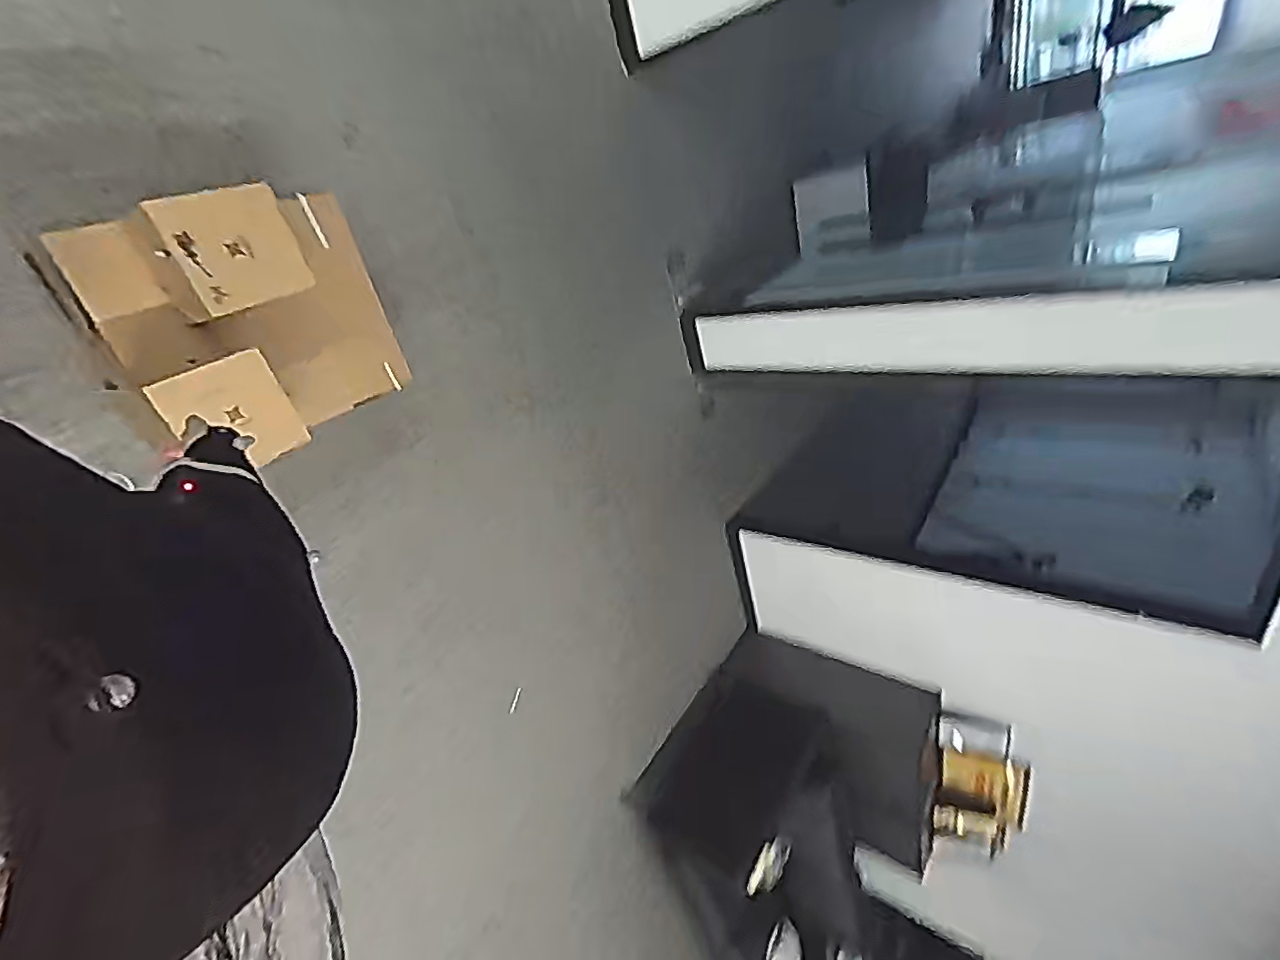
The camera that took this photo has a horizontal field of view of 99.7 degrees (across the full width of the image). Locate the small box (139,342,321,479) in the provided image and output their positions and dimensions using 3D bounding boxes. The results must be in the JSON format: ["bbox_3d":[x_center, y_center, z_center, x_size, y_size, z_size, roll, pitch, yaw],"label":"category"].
[{"bbox_3d":[-0.699,-0.126,0.927,0.168,0.176,0.179,-42,128,-38],"label":"small box"}]

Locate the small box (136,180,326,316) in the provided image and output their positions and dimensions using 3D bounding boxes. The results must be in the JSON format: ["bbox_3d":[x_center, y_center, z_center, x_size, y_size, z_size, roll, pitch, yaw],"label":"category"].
[{"bbox_3d":[-0.676,-0.382,0.899,0.179,0.176,0.168,-42,127,-39],"label":"small box"}]
